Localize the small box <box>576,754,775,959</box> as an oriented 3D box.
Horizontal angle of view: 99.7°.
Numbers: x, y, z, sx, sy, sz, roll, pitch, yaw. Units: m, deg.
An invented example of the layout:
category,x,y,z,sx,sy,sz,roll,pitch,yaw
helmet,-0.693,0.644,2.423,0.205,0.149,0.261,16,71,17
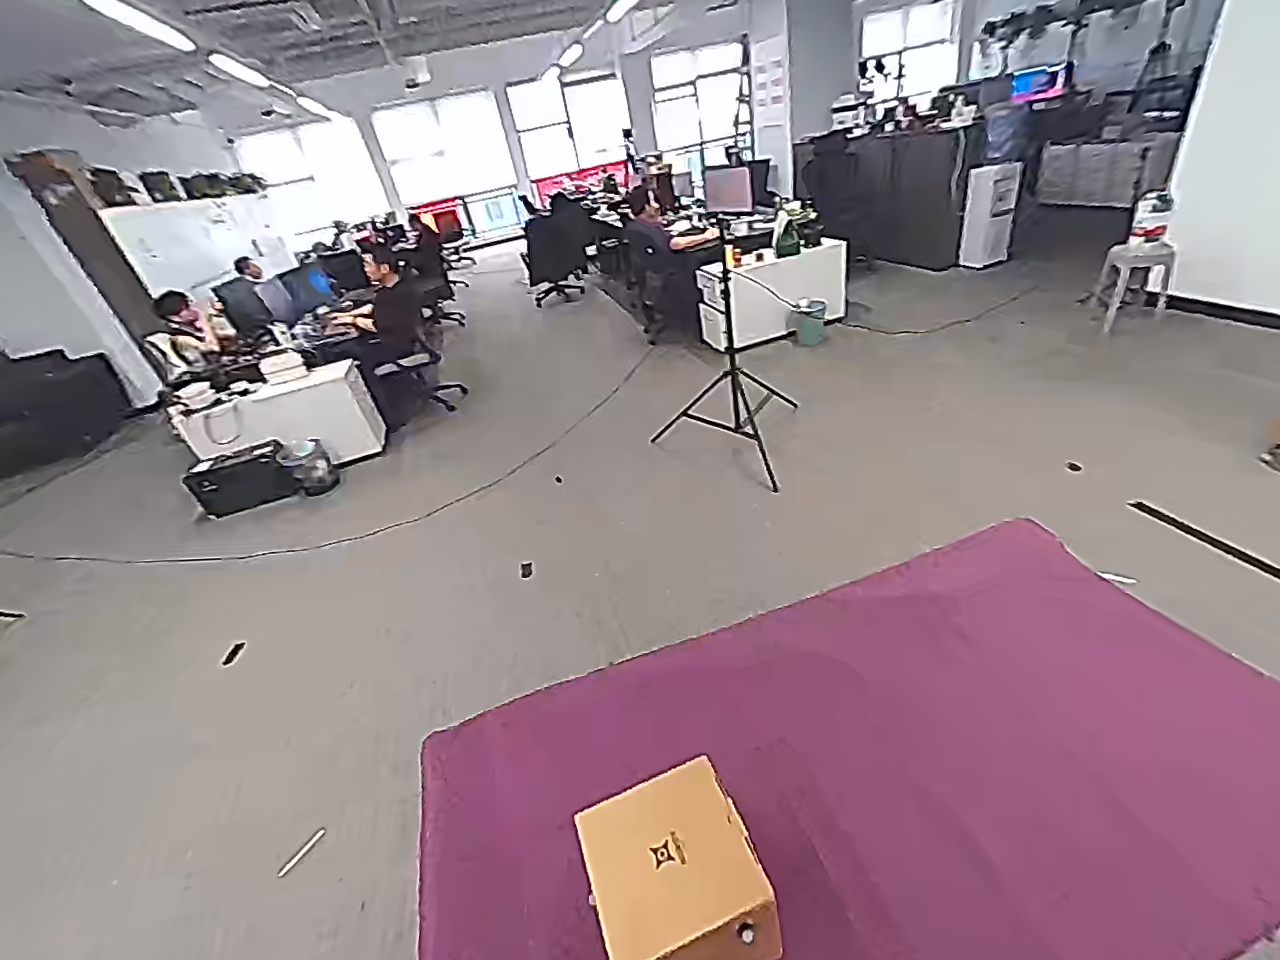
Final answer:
category,x,y,z,sx,sy,sz,roll,pitch,yaw
small box,0.044,0.475,0.639,0.179,0.176,0.168,-19,33,-12
